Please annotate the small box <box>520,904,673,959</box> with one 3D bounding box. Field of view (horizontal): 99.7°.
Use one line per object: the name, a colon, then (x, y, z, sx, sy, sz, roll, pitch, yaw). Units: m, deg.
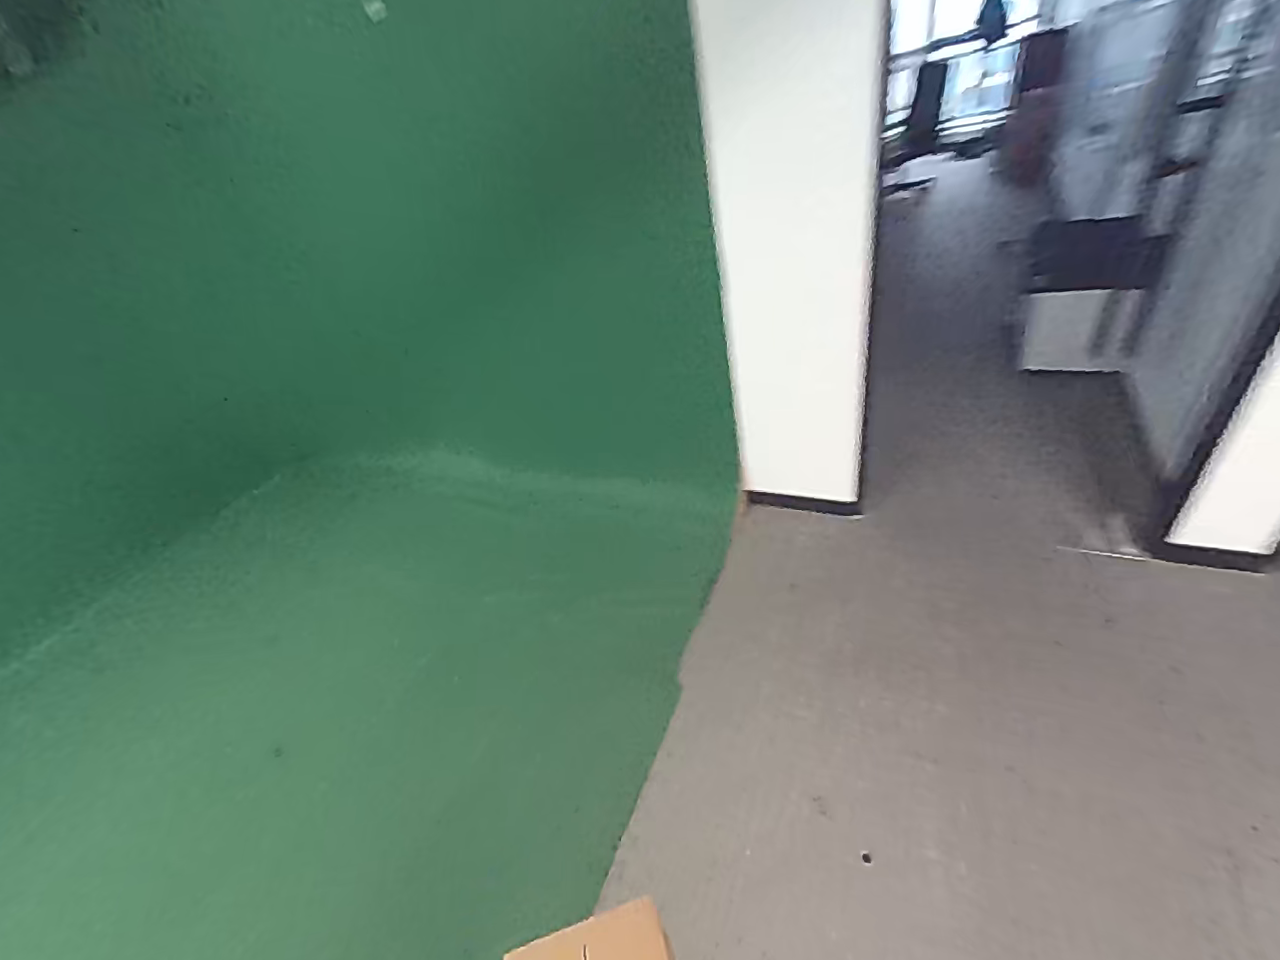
small box: (-0.025, 0.596, 0.554, 0.168, 0.176, 0.179, -16, 32, -10)
